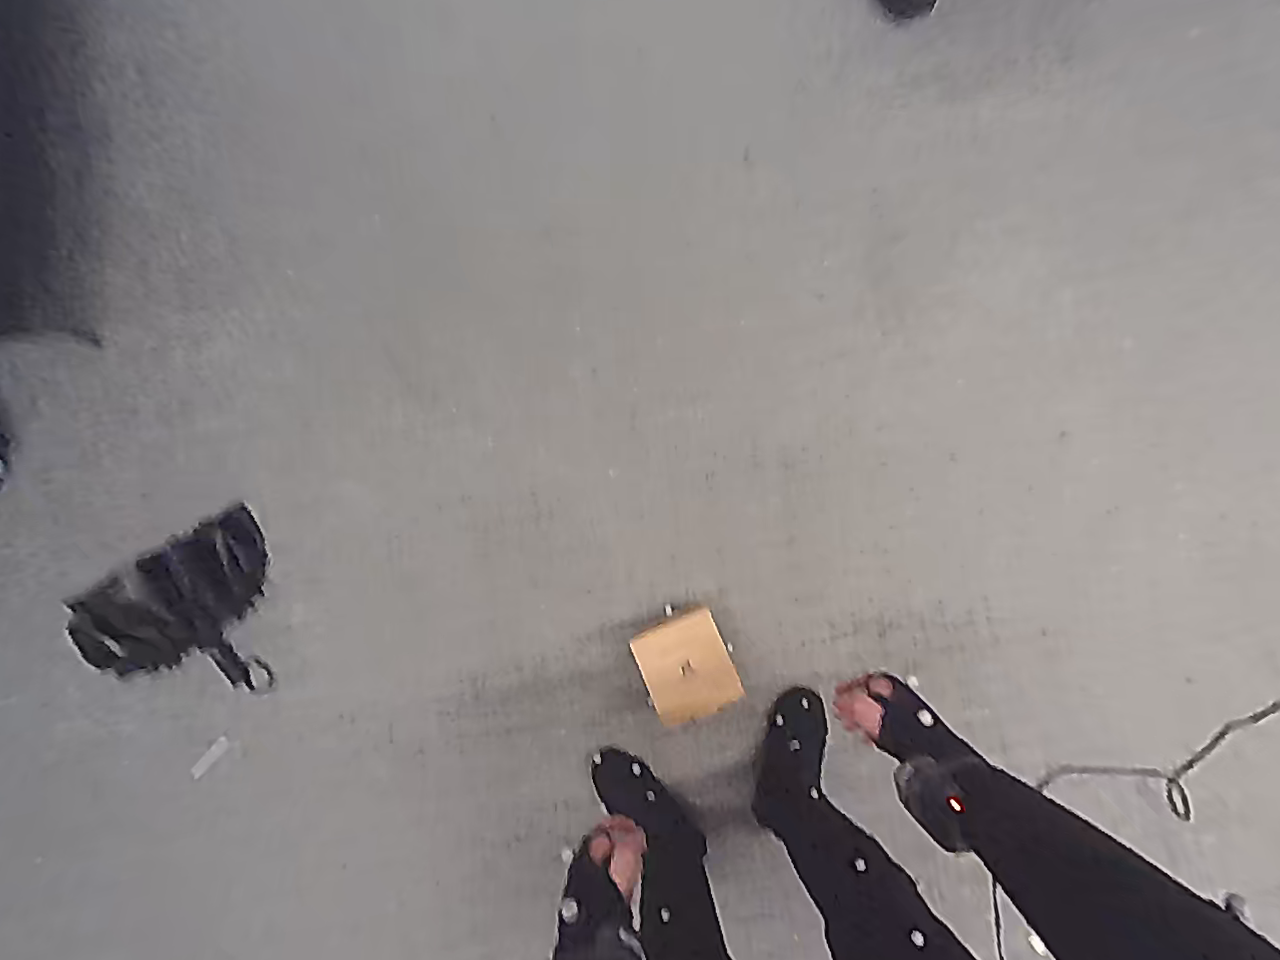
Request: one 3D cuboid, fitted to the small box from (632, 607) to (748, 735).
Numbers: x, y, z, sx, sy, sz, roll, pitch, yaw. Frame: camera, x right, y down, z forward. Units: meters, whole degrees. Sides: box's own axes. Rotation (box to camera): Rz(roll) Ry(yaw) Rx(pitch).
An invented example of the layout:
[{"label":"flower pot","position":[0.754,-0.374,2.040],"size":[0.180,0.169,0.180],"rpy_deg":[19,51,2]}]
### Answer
[{"label":"small box","position":[0.097,0.367,1.077],"size":[0.168,0.176,0.179],"rpy_deg":[-24,81,-2]}]
